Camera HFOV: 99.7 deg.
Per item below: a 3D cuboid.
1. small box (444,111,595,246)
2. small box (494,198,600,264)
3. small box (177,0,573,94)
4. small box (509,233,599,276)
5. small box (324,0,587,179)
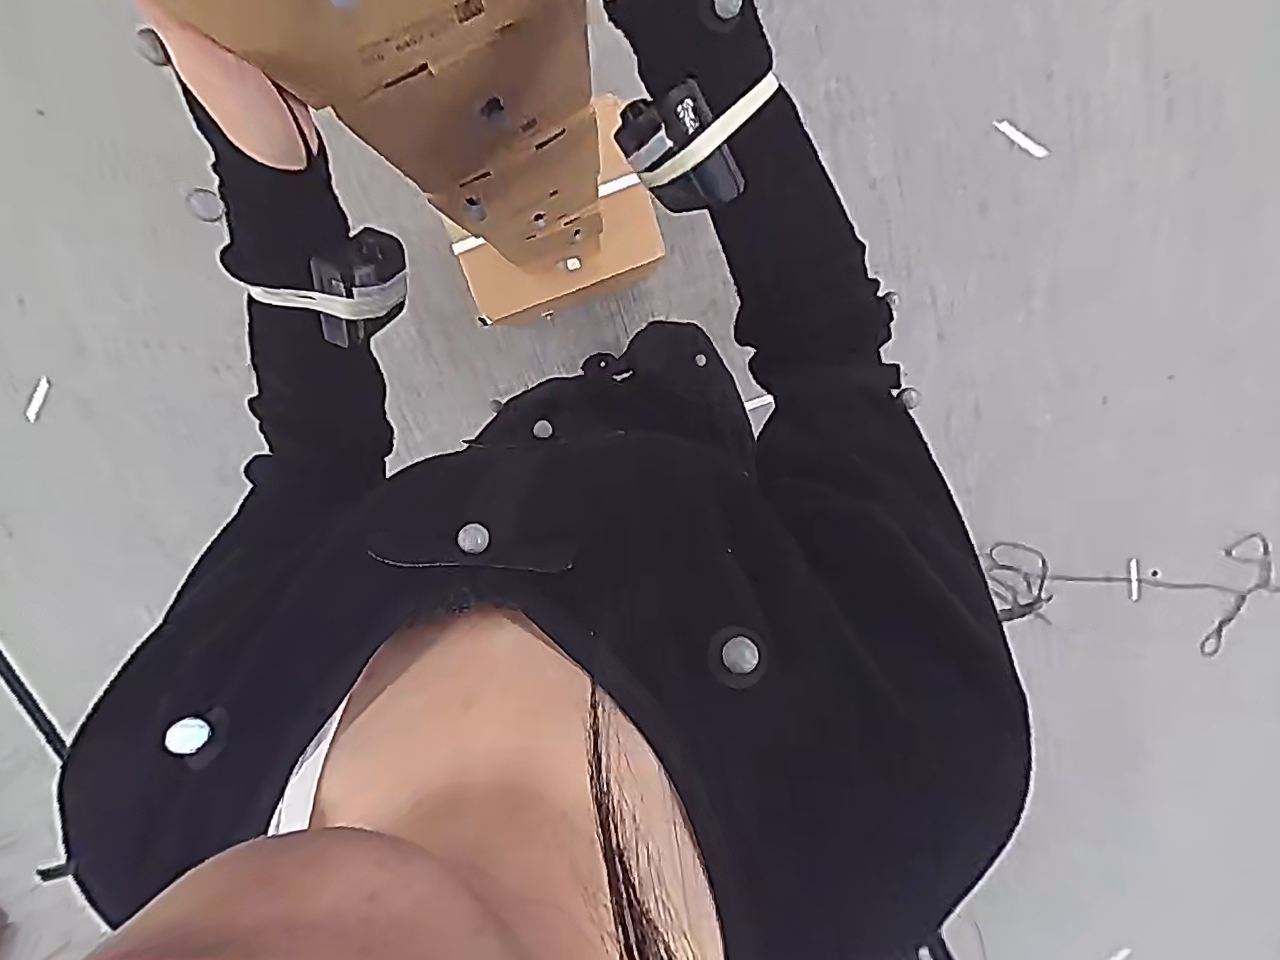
[{"bbox_3d":[-0.163,-0.416,0.683,0.168,0.176,0.179,-26,104,2],"label":"small box"},{"bbox_3d":[-0.167,-0.453,0.843,0.168,0.176,0.179,-22,103,2],"label":"small box"},{"bbox_3d":[-0.131,-0.290,0.208,0.168,0.176,0.179,-22,105,3],"label":"small box"},{"bbox_3d":[-0.181,-0.496,0.999,0.168,0.176,0.179,-20,105,3],"label":"small box"},{"bbox_3d":[-0.145,-0.335,0.366,0.168,0.176,0.179,-29,105,3],"label":"small box"}]
